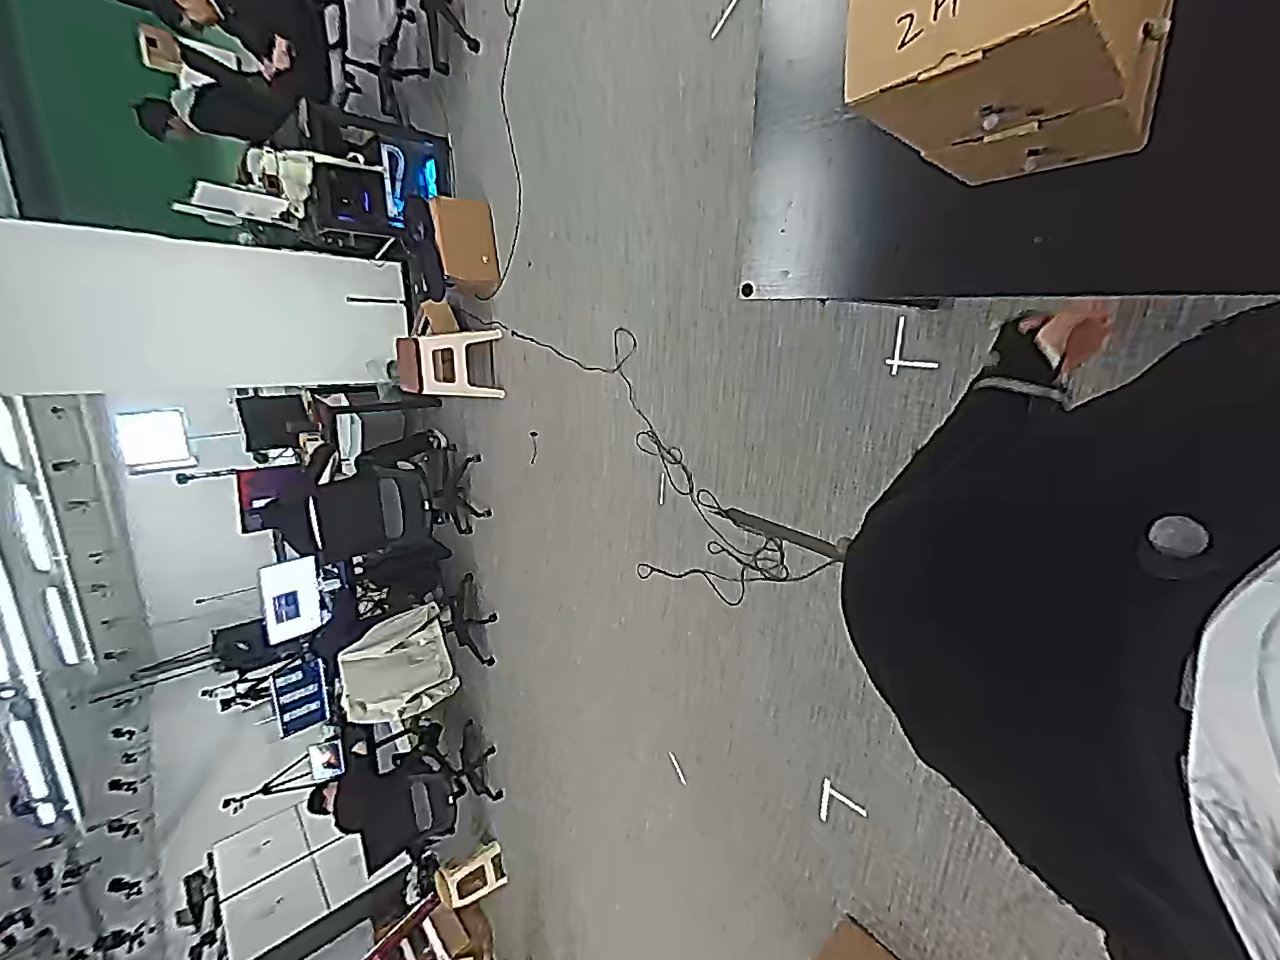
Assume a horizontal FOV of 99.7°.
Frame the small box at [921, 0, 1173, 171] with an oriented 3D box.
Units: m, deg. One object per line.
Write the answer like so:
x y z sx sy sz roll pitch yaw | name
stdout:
0.410 -0.433 0.547 0.168 0.176 0.179 14 109 47 | small box

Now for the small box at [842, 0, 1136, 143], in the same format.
0.286 -0.410 0.438 0.168 0.176 0.179 12 108 48 | small box
